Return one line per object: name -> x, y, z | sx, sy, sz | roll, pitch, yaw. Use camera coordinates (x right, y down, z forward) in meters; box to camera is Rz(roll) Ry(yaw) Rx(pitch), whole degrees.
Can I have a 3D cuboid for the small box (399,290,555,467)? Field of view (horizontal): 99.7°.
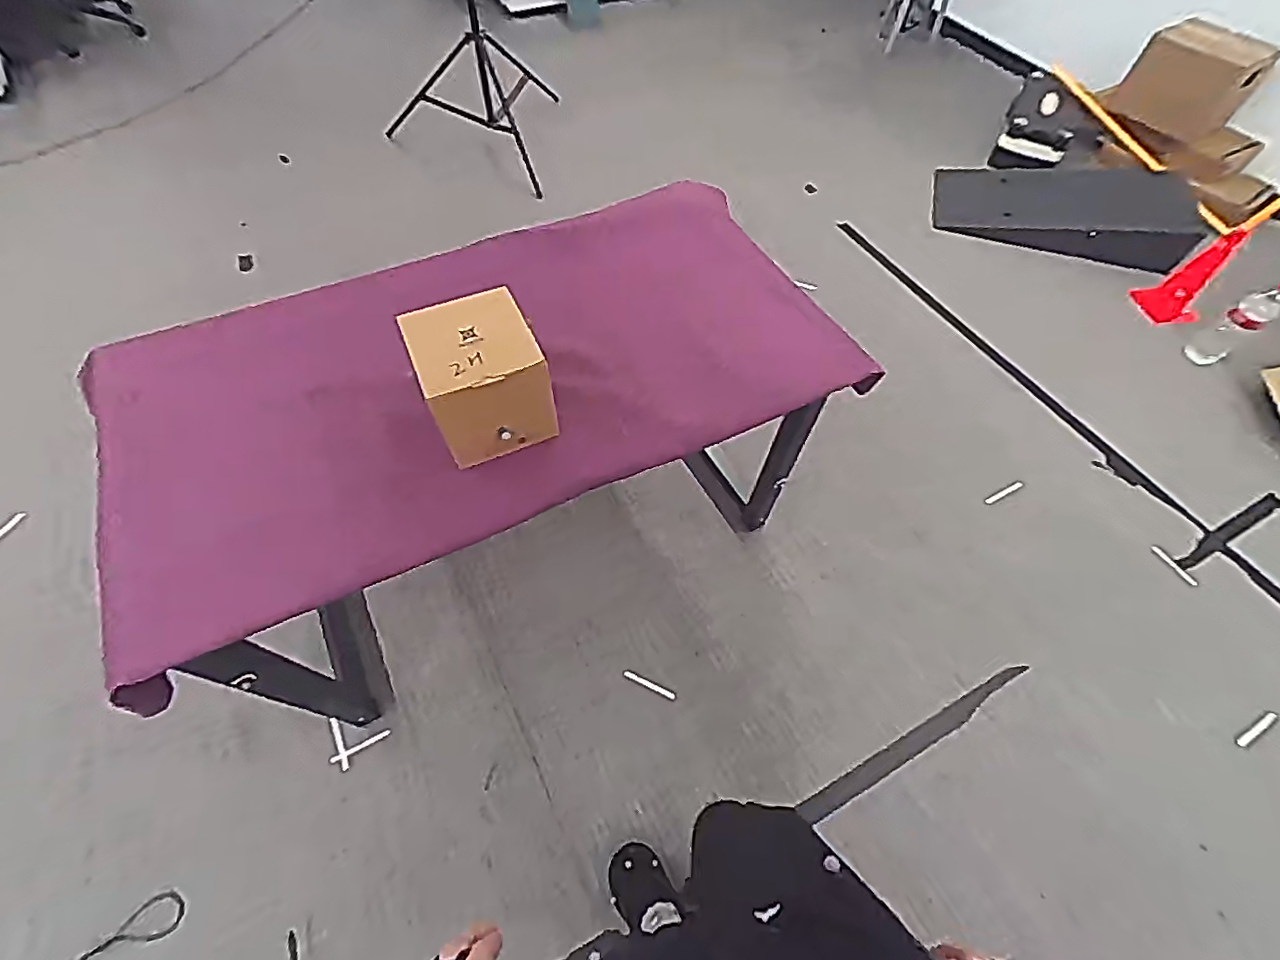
small box -> -0.241, -0.152, 0.824 | 0.168, 0.176, 0.179 | -22, 61, -14
